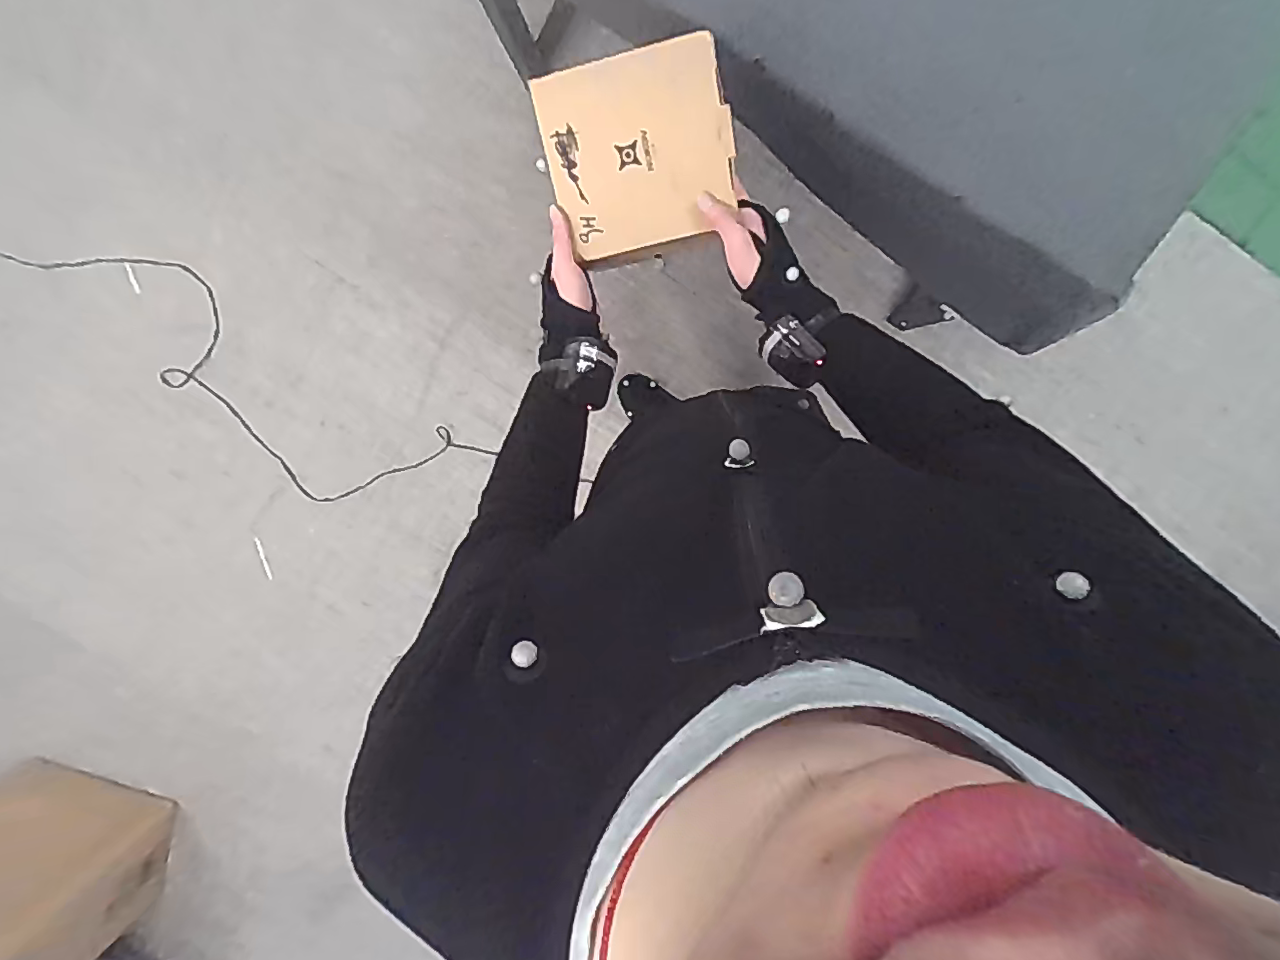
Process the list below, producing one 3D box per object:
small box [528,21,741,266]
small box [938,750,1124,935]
[{"bbox_3d":[-0.002,-0.334,0.575,0.179,0.176,0.168,-11,106,4],"label":"small box"},{"bbox_3d":[0.667,0.627,0.953,0.168,0.176,0.179,31,100,-5],"label":"small box"}]
